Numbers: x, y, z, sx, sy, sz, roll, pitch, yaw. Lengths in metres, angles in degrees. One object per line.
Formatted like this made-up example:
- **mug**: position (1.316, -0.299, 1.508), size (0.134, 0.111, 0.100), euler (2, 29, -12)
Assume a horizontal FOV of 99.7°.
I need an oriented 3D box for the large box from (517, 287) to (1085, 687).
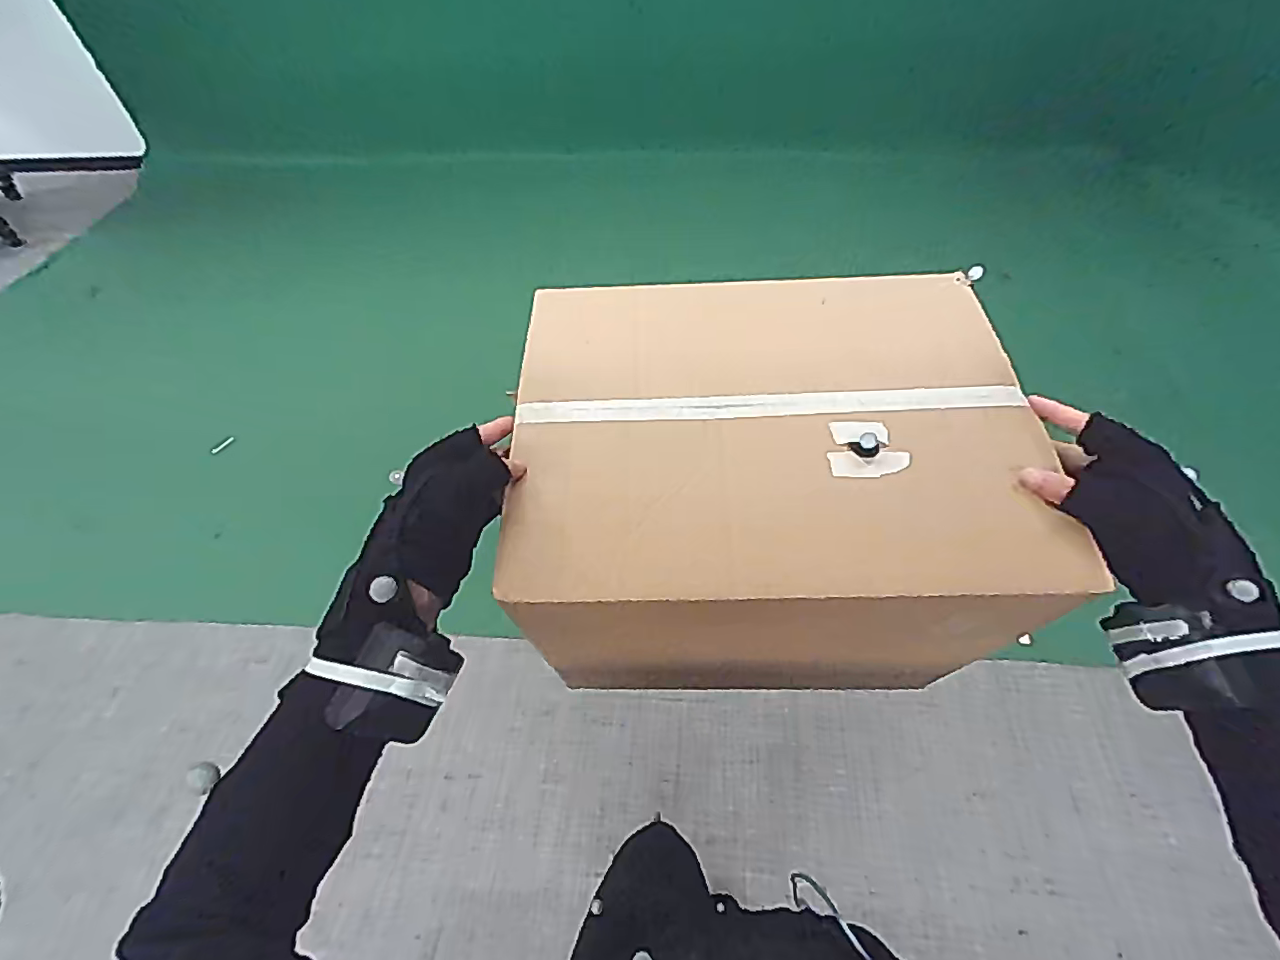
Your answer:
- **large box**: position (0.111, 0.025, 0.577), size (0.408, 0.320, 0.320), euler (-1, 59, 1)
